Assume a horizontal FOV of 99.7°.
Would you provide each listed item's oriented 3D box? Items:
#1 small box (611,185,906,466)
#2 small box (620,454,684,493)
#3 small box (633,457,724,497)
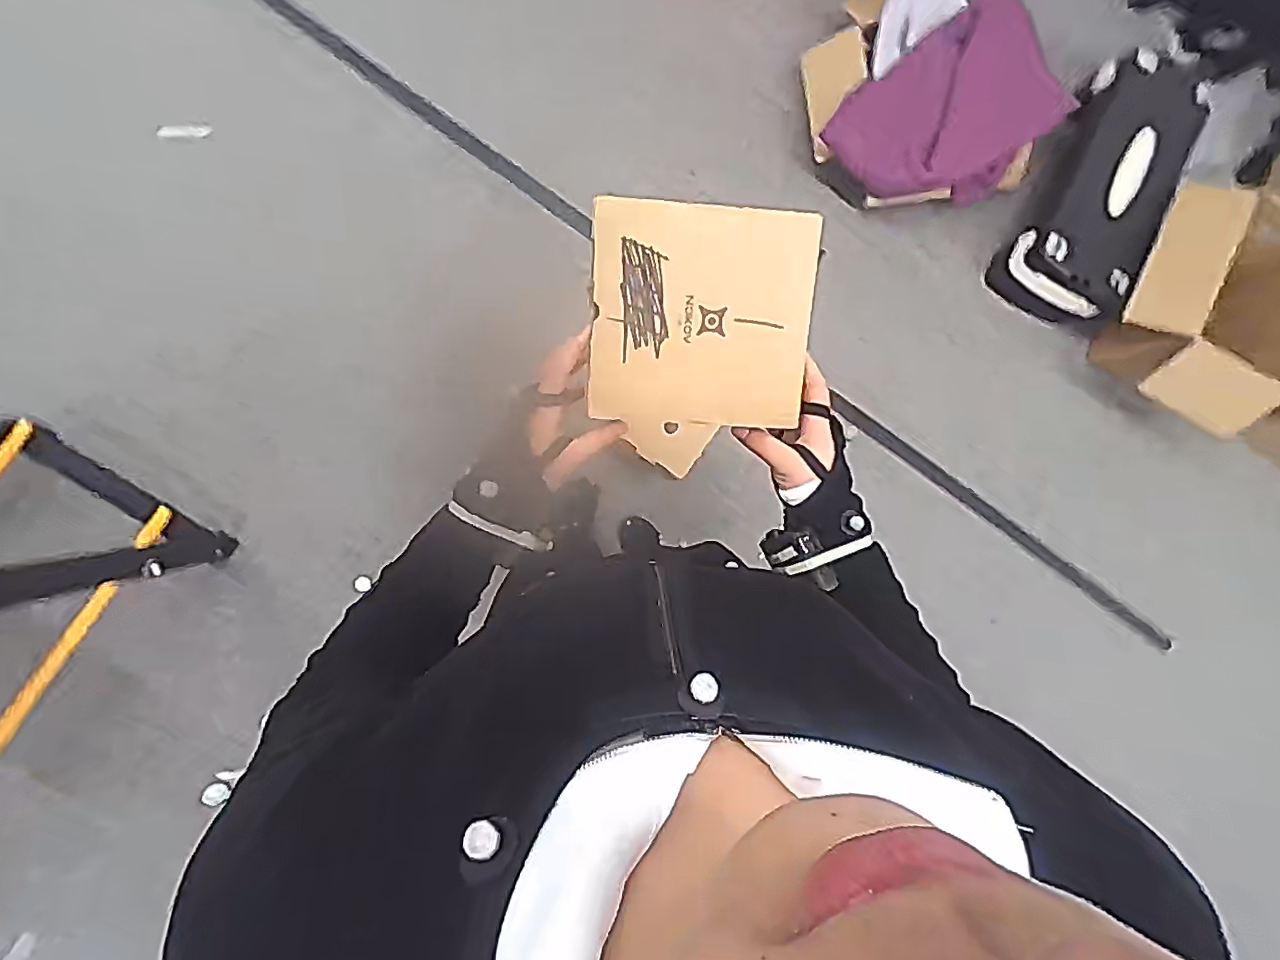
[{"bbox_3d":[0.067,-0.108,0.416,0.179,0.176,0.168,1,103,-5],"label":"small box"},{"bbox_3d":[0.065,-0.089,1.178,0.168,0.176,0.179,35,88,-4],"label":"small box"},{"bbox_3d":[0.078,-0.086,1.015,0.168,0.176,0.179,36,88,-4],"label":"small box"}]
